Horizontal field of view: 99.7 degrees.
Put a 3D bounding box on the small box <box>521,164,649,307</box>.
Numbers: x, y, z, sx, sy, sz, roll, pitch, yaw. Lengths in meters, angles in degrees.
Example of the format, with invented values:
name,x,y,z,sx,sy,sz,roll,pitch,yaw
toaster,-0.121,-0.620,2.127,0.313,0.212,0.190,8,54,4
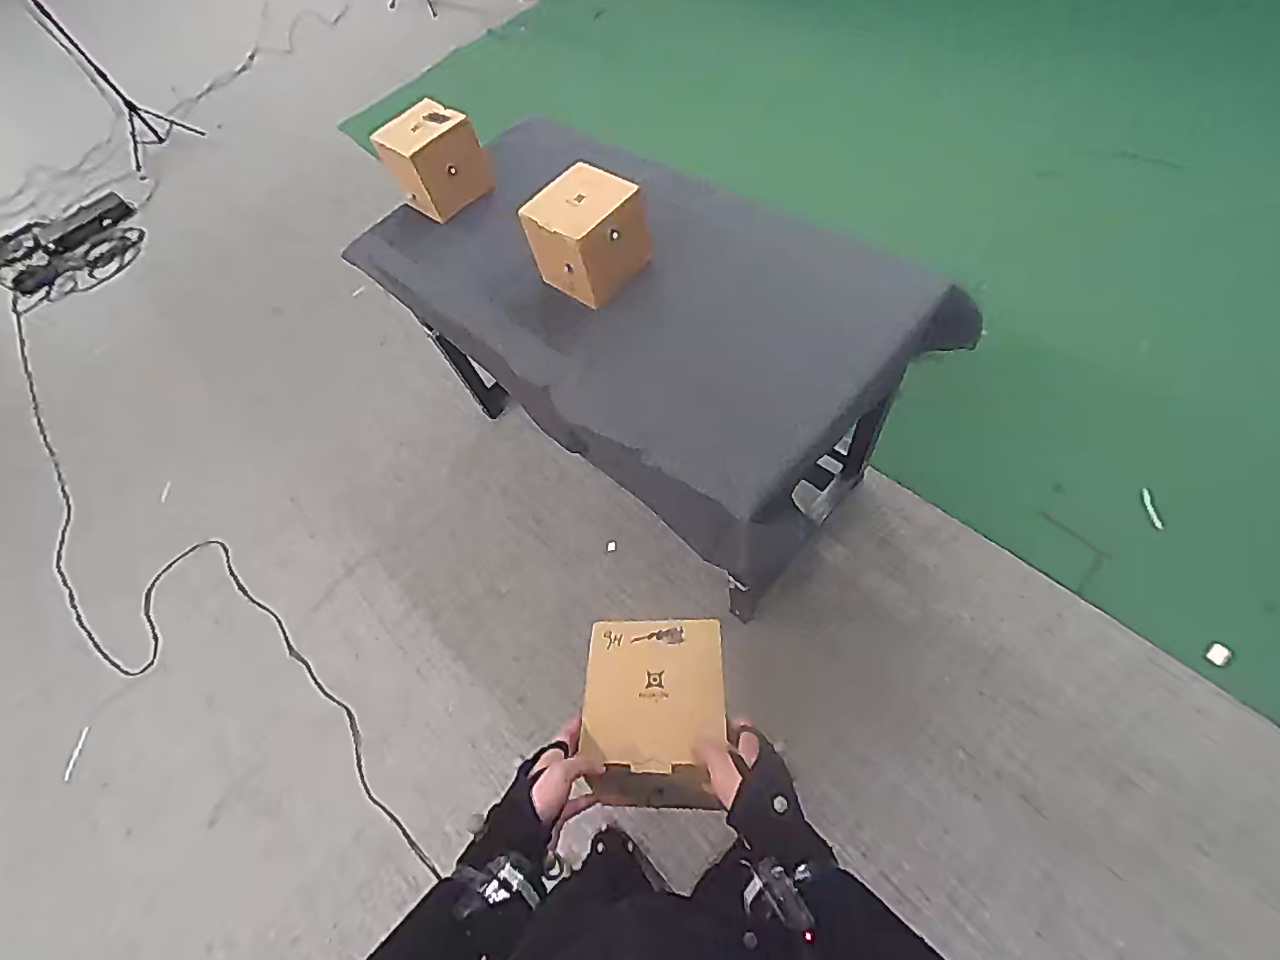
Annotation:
name,x,y,z,sx,sy,sz,roll,pitch,yaw
small box,-0.098,-0.480,1.076,0.168,0.176,0.179,36,72,24

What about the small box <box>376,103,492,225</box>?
name,x,y,z,sx,sy,sz,roll,pitch,yaw
small box,-0.479,-0.753,1.295,0.168,0.176,0.179,36,73,26

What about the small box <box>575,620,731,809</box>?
name,x,y,z,sx,sy,sz,roll,pitch,yaw
small box,0.026,0.295,0.675,0.168,0.176,0.179,-3,46,7
